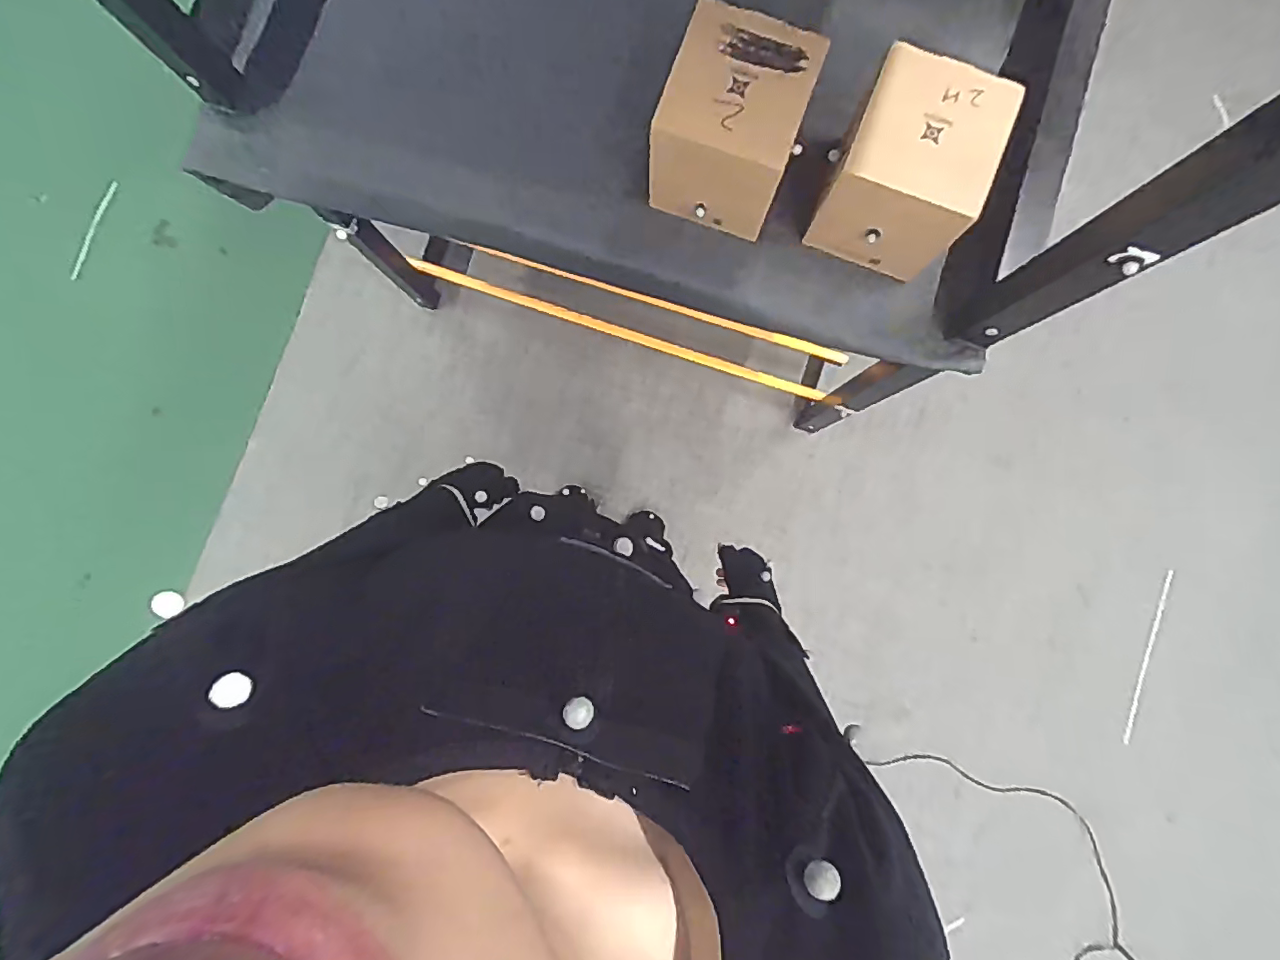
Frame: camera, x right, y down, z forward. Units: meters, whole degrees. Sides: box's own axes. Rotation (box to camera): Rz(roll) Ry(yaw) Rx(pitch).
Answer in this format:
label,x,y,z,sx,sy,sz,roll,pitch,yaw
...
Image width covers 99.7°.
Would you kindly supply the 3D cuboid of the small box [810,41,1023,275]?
label,x,y,z,sx,sy,sz,roll,pitch,yaw
small box,0.340,-0.400,0.704,0.168,0.176,0.179,22,86,2
